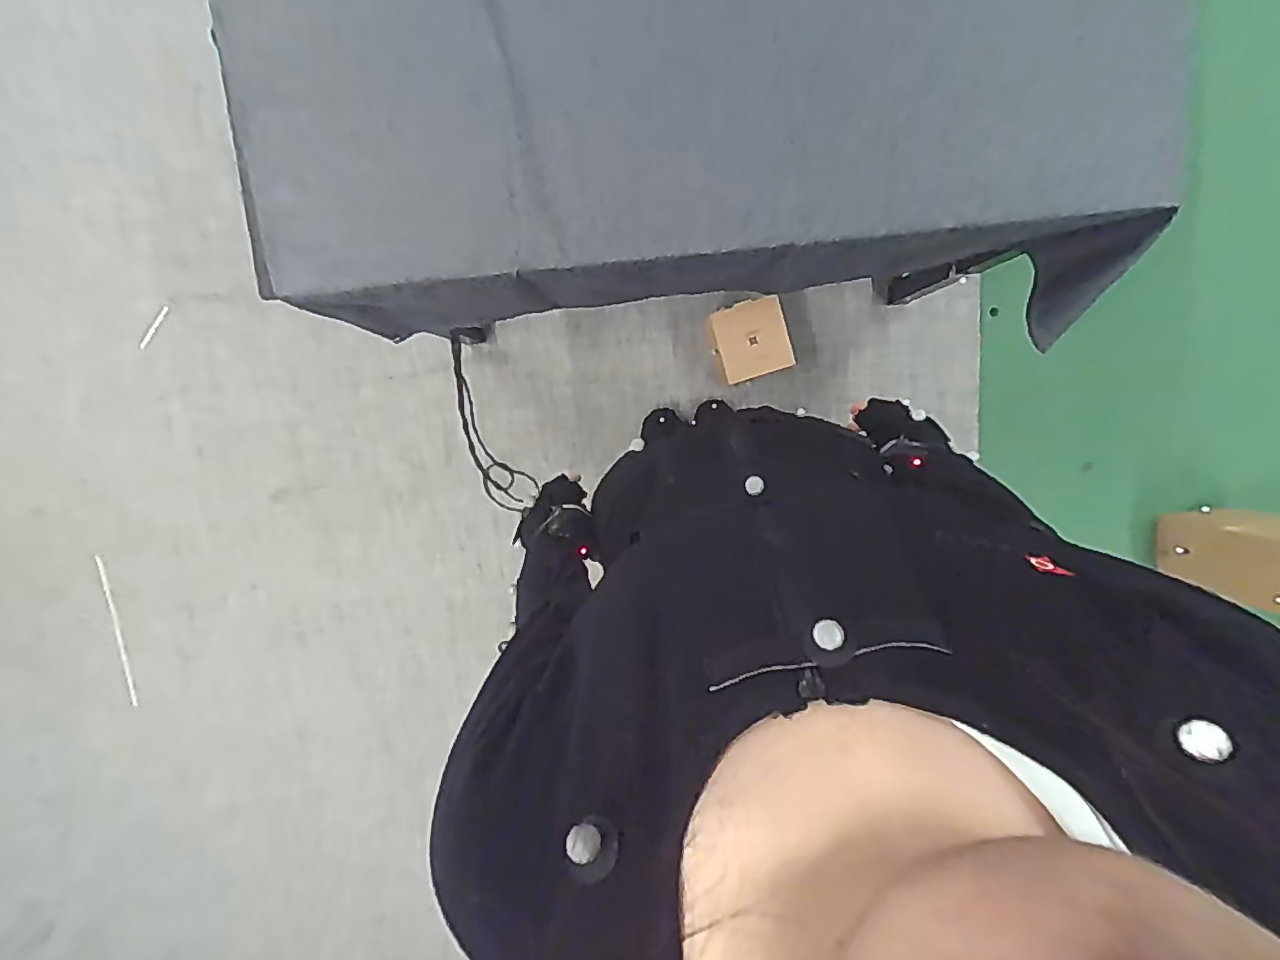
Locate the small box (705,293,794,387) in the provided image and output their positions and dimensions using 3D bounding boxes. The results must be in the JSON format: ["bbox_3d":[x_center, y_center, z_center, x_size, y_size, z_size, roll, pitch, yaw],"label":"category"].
[{"bbox_3d":[0.265,-0.340,1.346,0.168,0.176,0.179,-17,96,4],"label":"small box"}]

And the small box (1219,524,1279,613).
[{"bbox_3d":[1.467,0.200,1.213,0.168,0.176,0.179,-7,98,3],"label":"small box"}]
